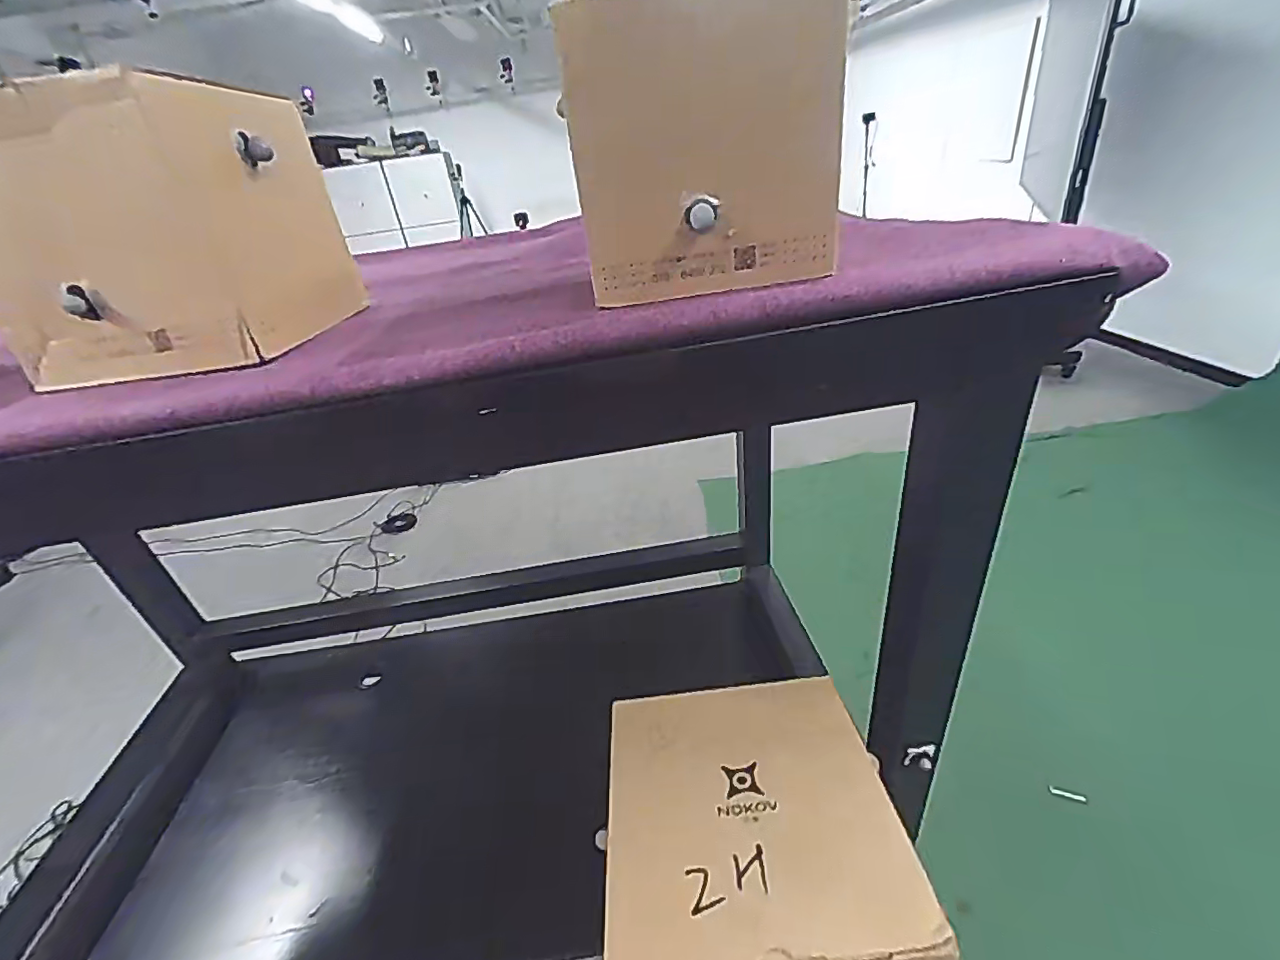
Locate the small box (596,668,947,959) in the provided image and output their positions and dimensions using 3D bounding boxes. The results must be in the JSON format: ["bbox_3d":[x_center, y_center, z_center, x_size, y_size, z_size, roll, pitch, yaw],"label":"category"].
[{"bbox_3d":[0.072,0.257,0.358,0.168,0.176,0.179,-9,23,4],"label":"small box"}]

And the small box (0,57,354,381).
[{"bbox_3d":[-0.346,-0.186,0.402,0.168,0.176,0.179,-7,31,3],"label":"small box"}]

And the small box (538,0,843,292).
[{"bbox_3d":[0.035,-0.247,0.394,0.168,0.176,0.179,-7,33,4],"label":"small box"}]
